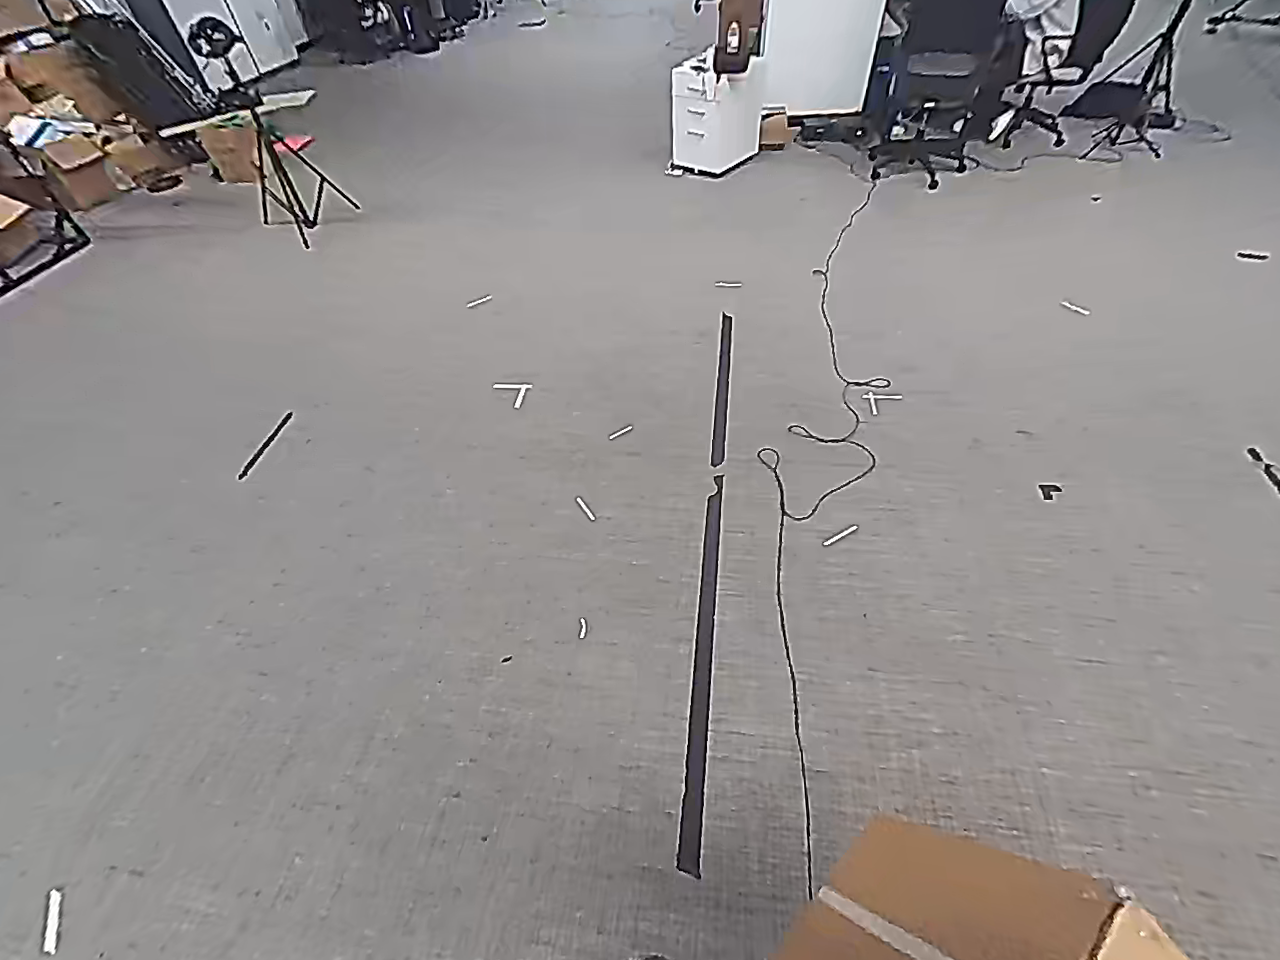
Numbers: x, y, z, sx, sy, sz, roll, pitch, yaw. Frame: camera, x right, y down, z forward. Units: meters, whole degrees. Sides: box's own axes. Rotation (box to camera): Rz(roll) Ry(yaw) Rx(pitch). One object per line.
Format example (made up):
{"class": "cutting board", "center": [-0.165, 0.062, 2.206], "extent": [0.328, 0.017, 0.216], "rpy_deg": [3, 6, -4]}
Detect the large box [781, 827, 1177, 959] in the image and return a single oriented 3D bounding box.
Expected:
{"class": "large box", "center": [0.425, 0.691, 0.630], "extent": [0.320, 0.408, 0.320], "rpy_deg": [-36, 81, -24]}
